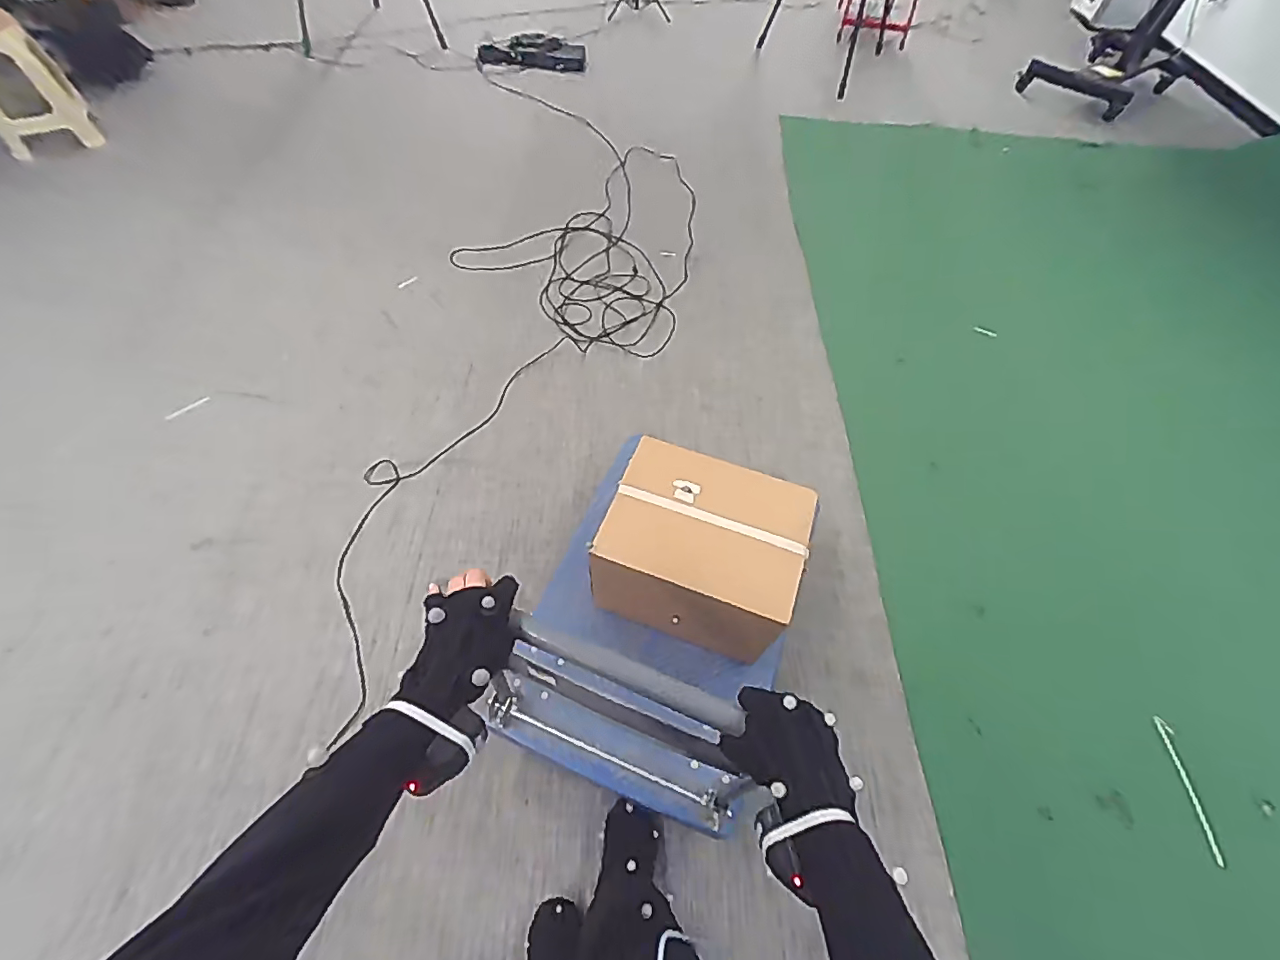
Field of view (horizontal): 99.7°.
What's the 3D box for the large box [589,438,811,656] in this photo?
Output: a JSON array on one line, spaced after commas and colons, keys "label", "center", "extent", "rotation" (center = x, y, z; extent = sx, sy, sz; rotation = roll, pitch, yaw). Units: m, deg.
[{"label": "large box", "center": [0.131, 0.160, 1.239], "extent": [0.408, 0.320, 0.320], "rotation": [19, 58, 9]}]
